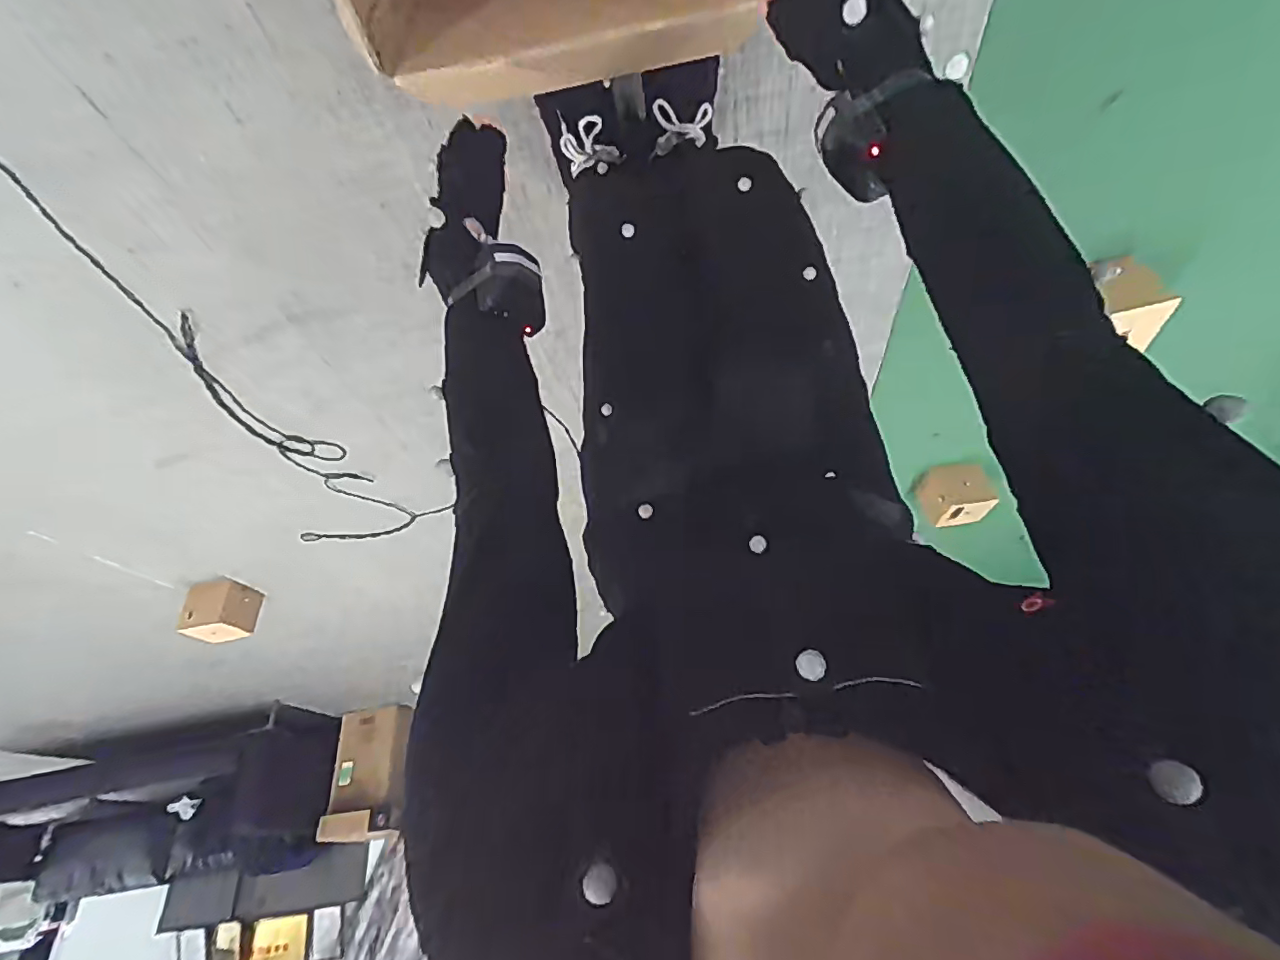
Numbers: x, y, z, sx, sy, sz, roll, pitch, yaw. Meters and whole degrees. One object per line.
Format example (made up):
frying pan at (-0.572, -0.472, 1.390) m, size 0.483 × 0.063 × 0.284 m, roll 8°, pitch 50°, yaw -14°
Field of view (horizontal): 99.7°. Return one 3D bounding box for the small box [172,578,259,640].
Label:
small box at (-1.577, 0.482, 2.021) m, size 0.179 × 0.176 × 0.168 m, roll -12°, pitch 147°, yaw 5°

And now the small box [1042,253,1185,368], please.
small box at (1.100, -0.400, 1.279) m, size 0.168 × 0.176 × 0.179 m, roll -12°, pitch 146°, yaw 6°
